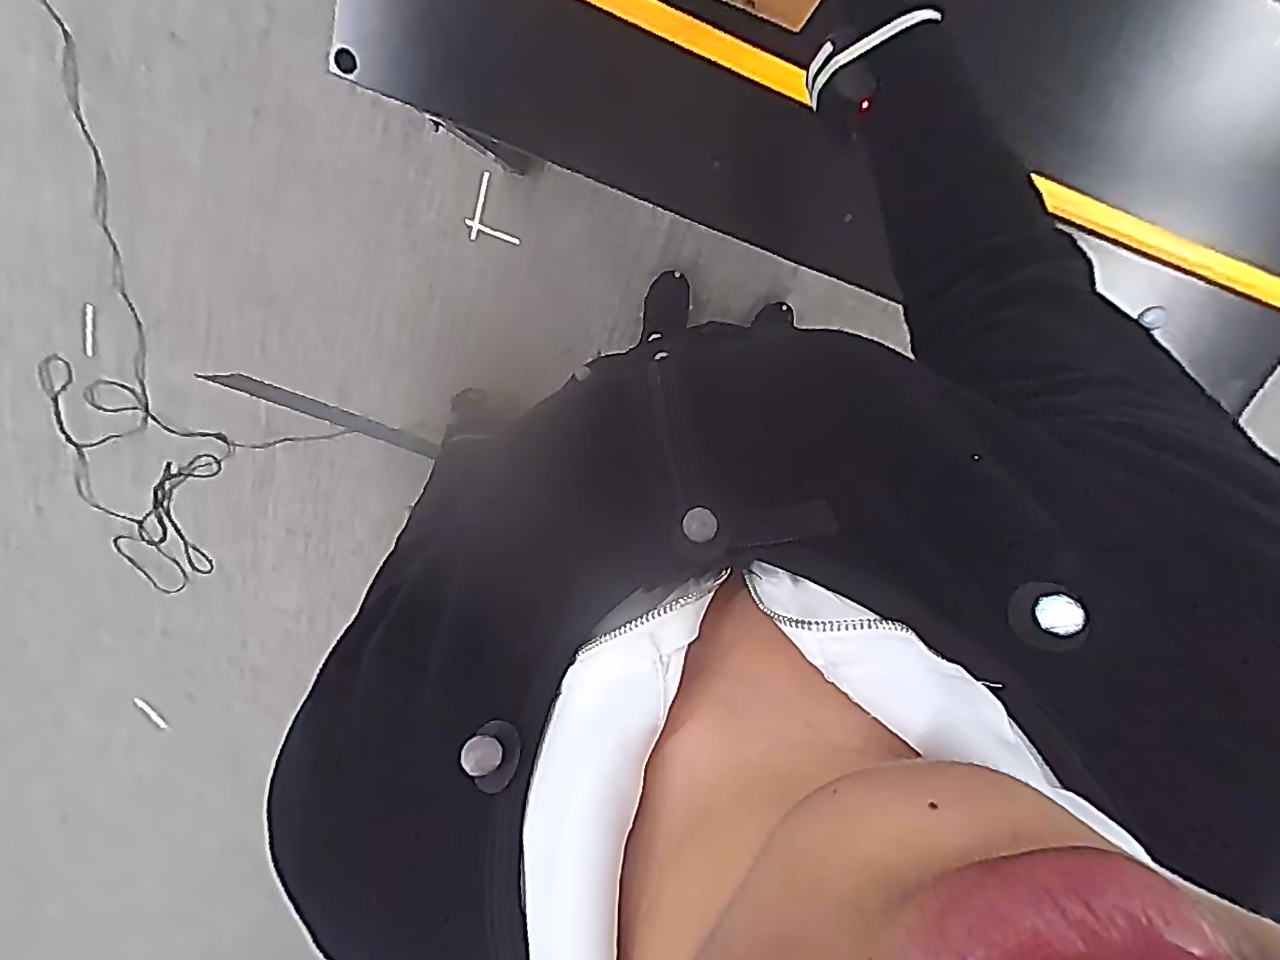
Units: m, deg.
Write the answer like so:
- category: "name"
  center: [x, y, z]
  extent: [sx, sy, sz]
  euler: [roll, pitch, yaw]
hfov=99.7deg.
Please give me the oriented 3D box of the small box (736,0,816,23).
- category: "small box"
  center: [0.122, -0.550, 0.459]
  extent: [0.168, 0.176, 0.179]
  euler: [18, 112, -7]
